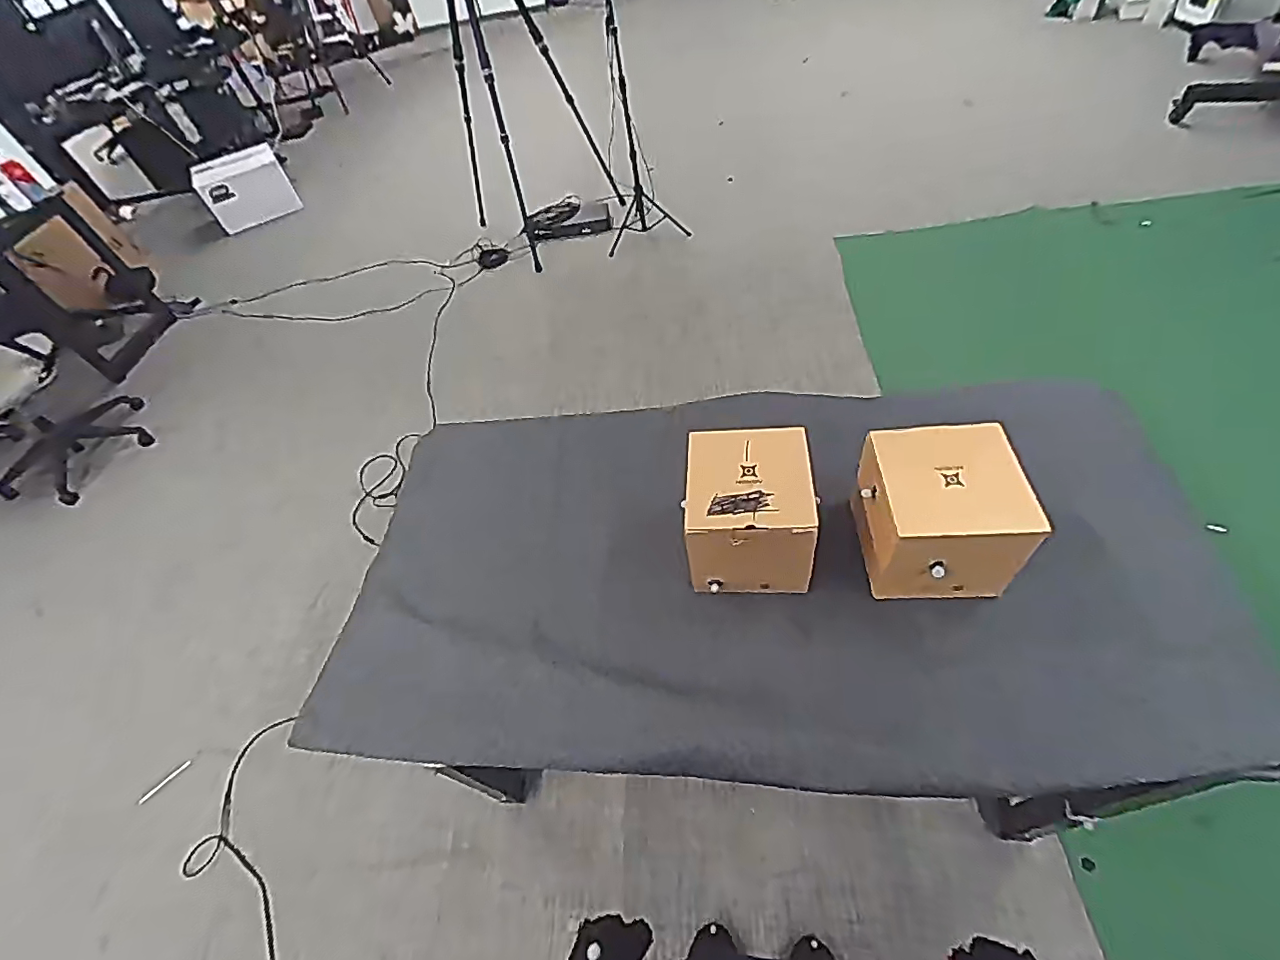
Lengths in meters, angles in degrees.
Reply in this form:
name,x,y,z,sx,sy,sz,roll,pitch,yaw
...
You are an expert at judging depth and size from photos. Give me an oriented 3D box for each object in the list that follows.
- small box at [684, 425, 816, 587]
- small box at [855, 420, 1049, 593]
name,x,y,z,sx,sy,sz,roll,pitch,yaw
small box,0.157,0.042,0.780,0.168,0.176,0.179,-1,51,10
small box,0.400,0.043,0.732,0.168,0.176,0.179,-4,51,9
